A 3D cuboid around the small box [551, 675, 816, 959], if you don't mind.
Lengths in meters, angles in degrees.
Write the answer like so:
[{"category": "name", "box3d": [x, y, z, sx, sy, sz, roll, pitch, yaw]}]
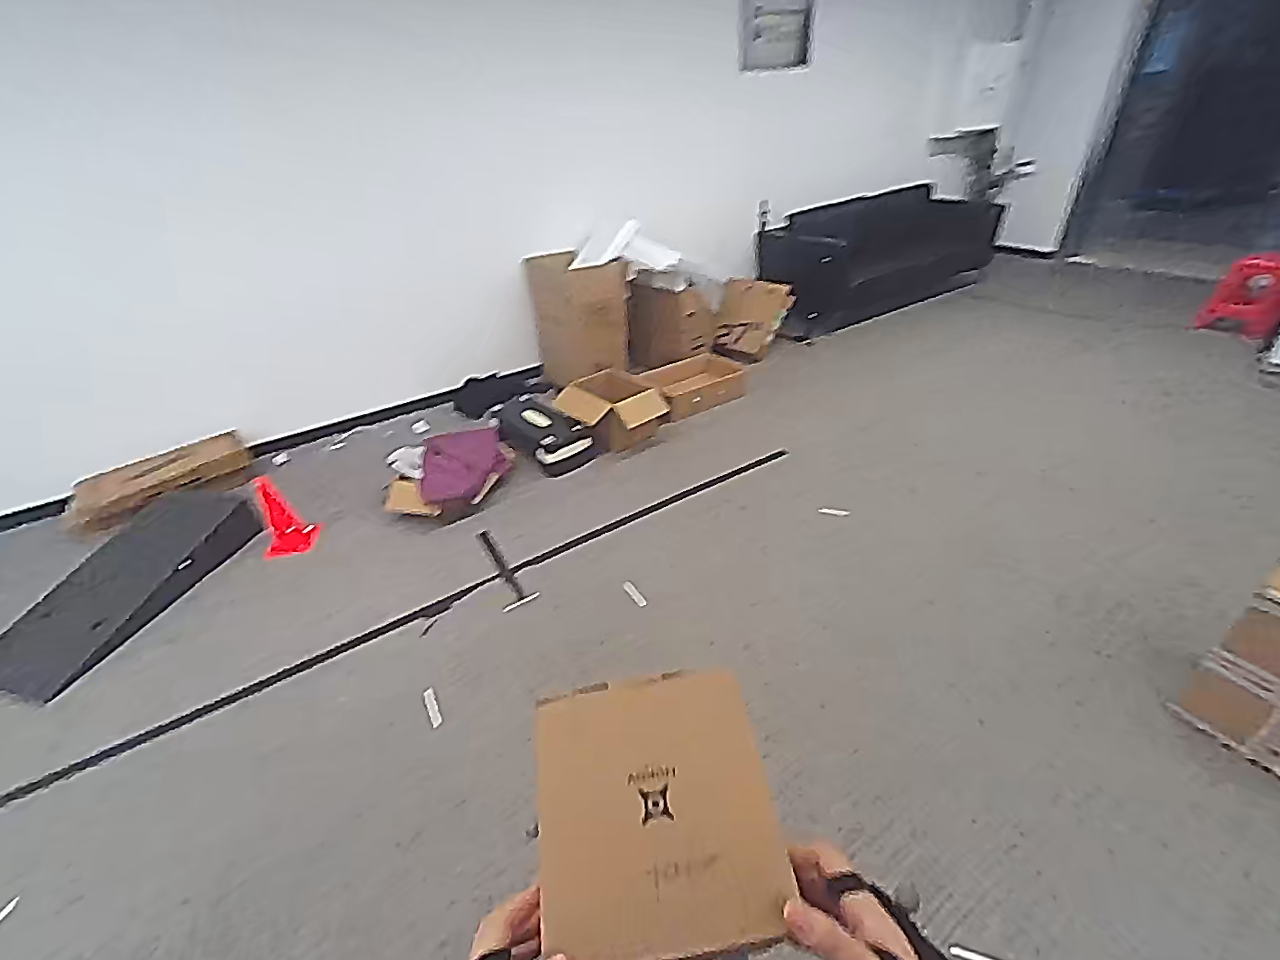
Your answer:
[{"category": "small box", "box3d": [0.019, 0.287, 0.441, 0.168, 0.176, 0.179, -7, 46, -4]}]
